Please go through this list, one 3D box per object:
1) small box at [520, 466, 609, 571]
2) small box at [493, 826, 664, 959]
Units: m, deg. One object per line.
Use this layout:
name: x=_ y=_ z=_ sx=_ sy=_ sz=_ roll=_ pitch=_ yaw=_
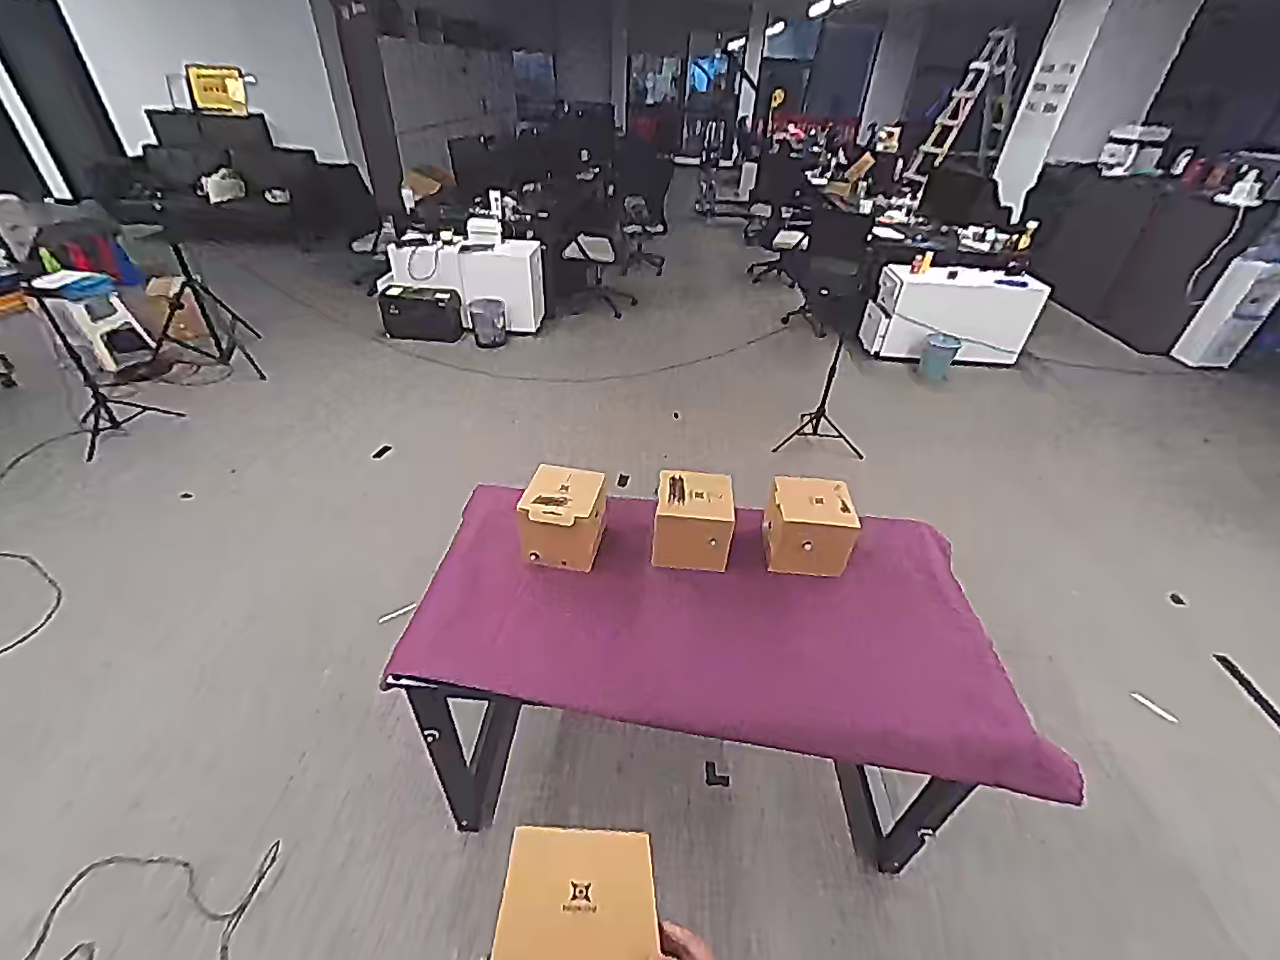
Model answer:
small box: x=-0.170 y=0.093 z=1.282 sx=0.168 sy=0.176 sz=0.179 roll=9 pitch=37 yaw=6
small box: x=-0.073 y=0.521 z=0.585 sx=0.168 sy=0.176 sz=0.179 roll=7 pitch=10 yaw=-6
